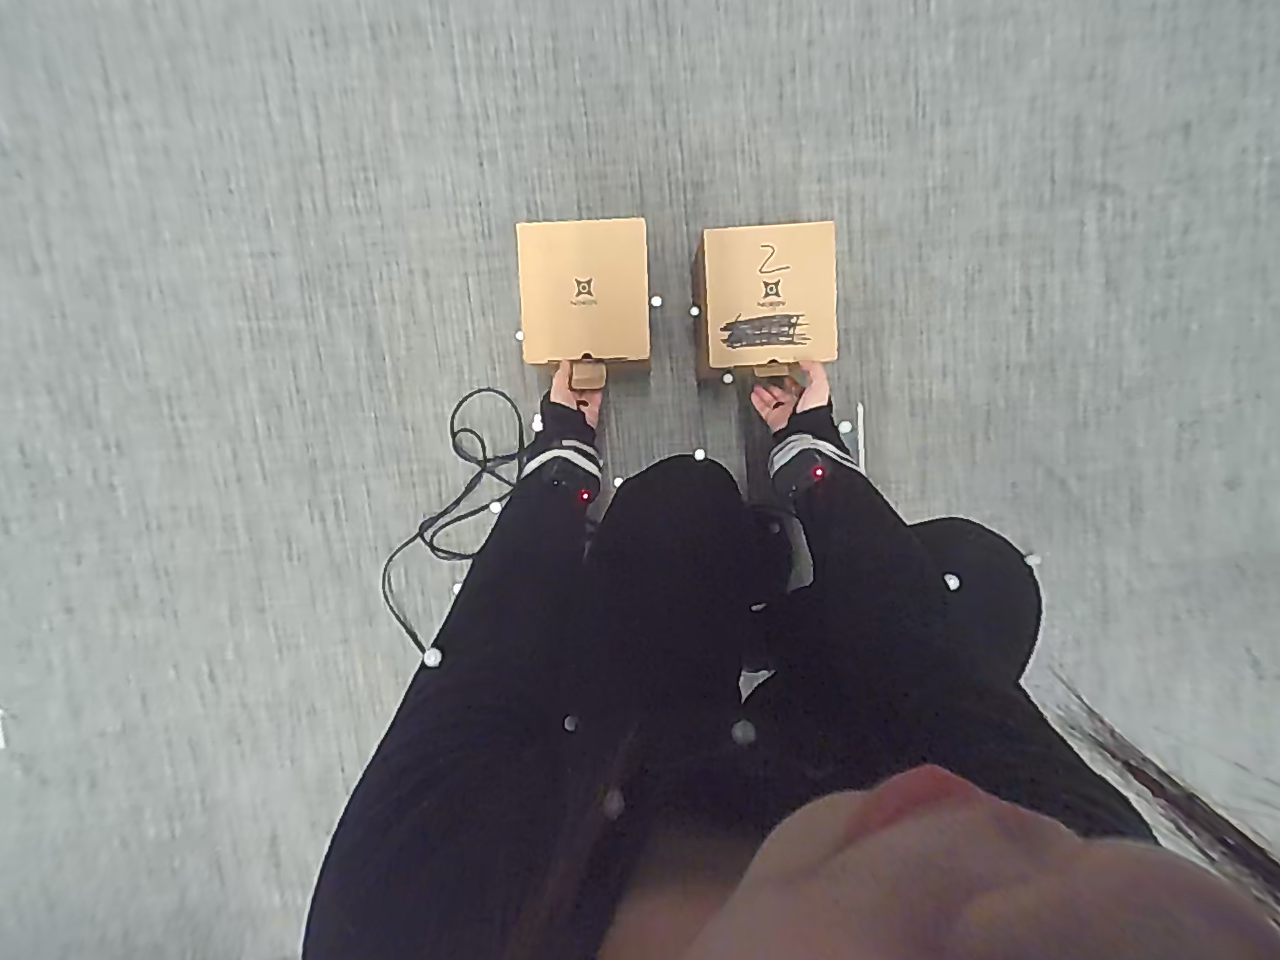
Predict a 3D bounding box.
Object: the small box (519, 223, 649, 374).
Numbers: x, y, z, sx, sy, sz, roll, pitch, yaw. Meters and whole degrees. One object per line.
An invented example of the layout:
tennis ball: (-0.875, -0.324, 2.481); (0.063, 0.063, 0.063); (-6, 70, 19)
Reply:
small box: (-0.071, -0.248, 0.774); (0.168, 0.176, 0.179); (-2, 98, 1)
